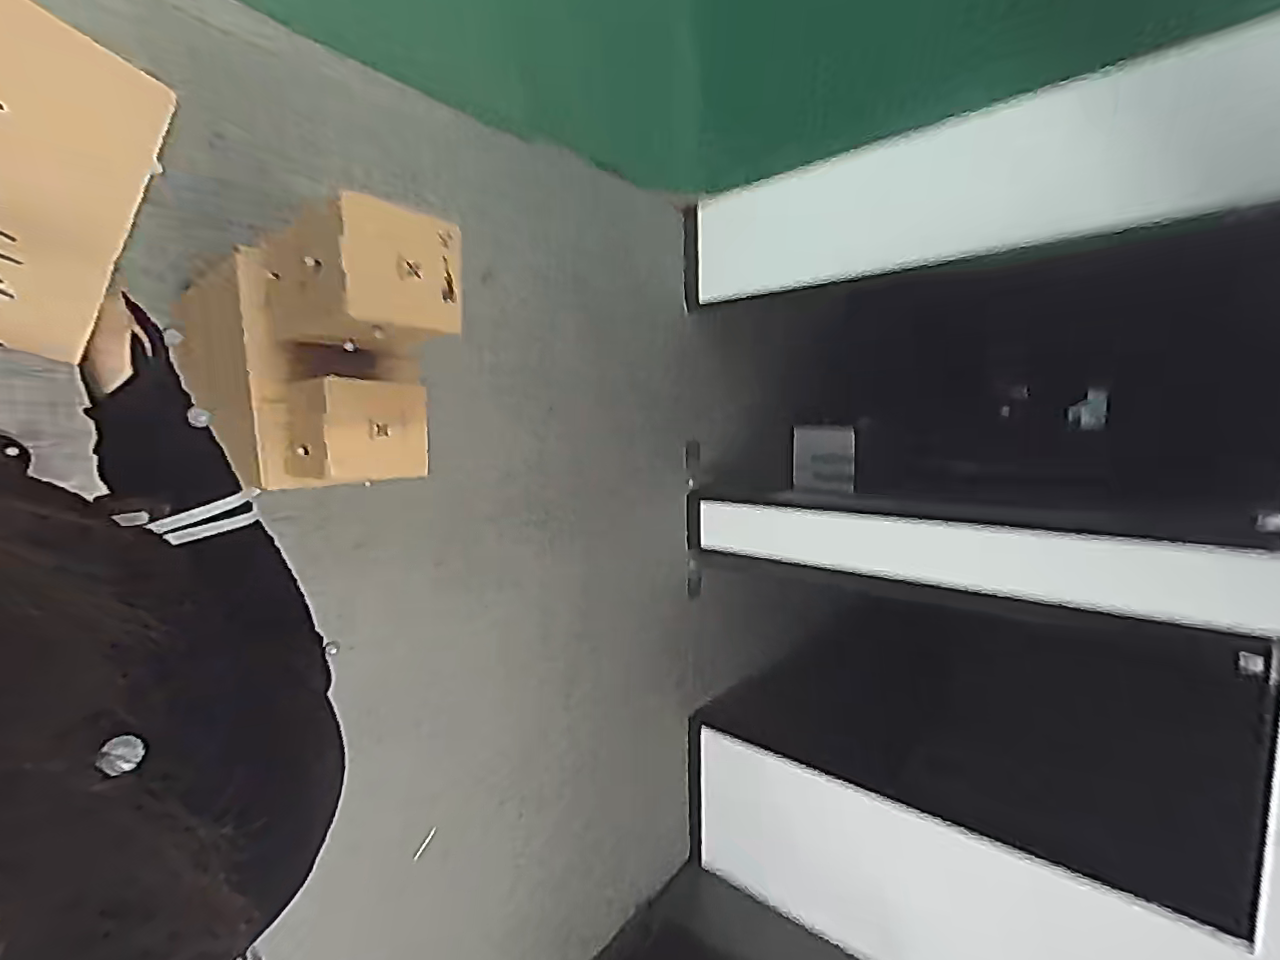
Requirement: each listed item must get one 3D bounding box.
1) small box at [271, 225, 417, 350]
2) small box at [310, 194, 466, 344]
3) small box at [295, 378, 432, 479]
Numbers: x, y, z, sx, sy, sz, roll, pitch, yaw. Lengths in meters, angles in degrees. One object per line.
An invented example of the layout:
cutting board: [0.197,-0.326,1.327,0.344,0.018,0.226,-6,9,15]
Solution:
small box: [-0.511,-0.320,0.941,0.179,0.176,0.168,-7,100,-49]
small box: [-0.389,-0.307,0.831,0.179,0.176,0.168,-5,99,-48]
small box: [-0.500,-0.086,0.974,0.179,0.176,0.168,-3,95,-51]
